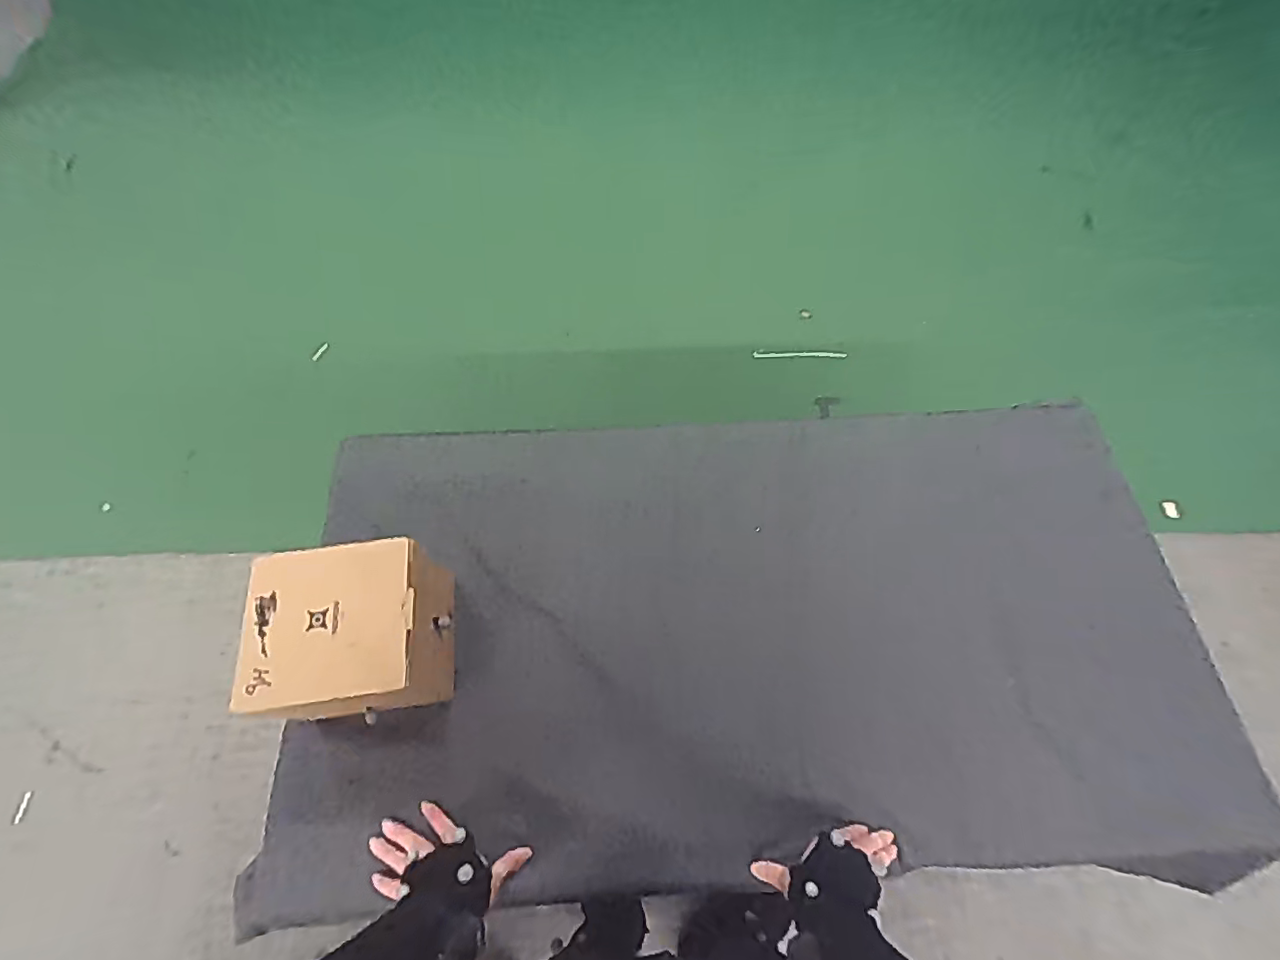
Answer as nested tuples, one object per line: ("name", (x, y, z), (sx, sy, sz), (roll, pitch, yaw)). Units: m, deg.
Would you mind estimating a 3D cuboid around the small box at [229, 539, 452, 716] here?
("small box", (-0.332, 0.181, 0.644), (0.179, 0.176, 0.168), (-6, 64, -5))
